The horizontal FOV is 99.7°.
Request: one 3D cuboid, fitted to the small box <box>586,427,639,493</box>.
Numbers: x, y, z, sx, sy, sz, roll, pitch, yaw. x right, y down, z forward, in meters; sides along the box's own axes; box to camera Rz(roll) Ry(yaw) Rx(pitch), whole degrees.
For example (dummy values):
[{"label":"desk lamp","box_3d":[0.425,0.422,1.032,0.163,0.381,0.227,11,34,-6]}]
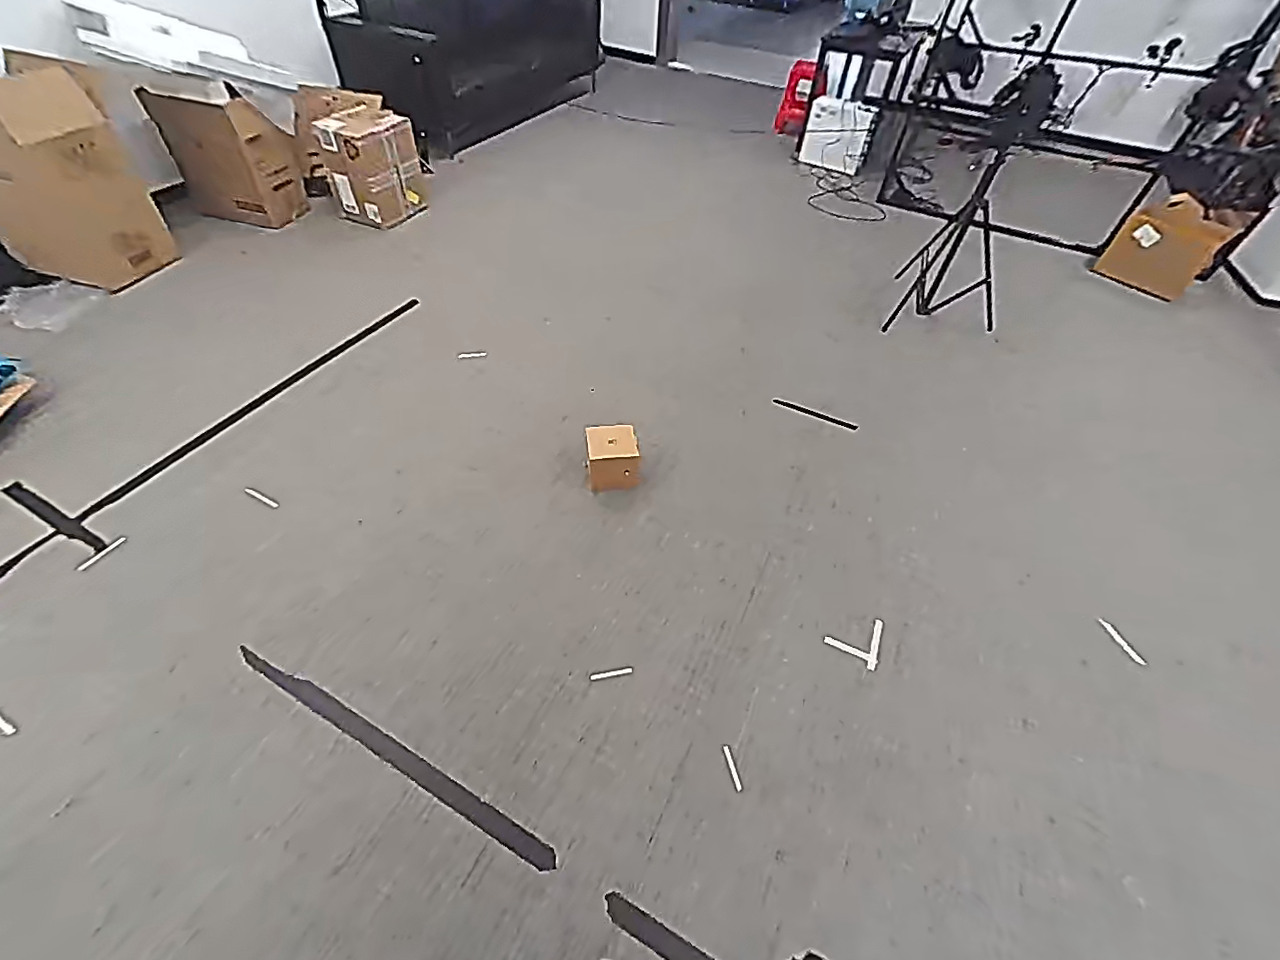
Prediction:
[{"label":"small box","box_3d":[-0.103,-0.071,1.965,0.179,0.176,0.168,-6,48,-8]}]
